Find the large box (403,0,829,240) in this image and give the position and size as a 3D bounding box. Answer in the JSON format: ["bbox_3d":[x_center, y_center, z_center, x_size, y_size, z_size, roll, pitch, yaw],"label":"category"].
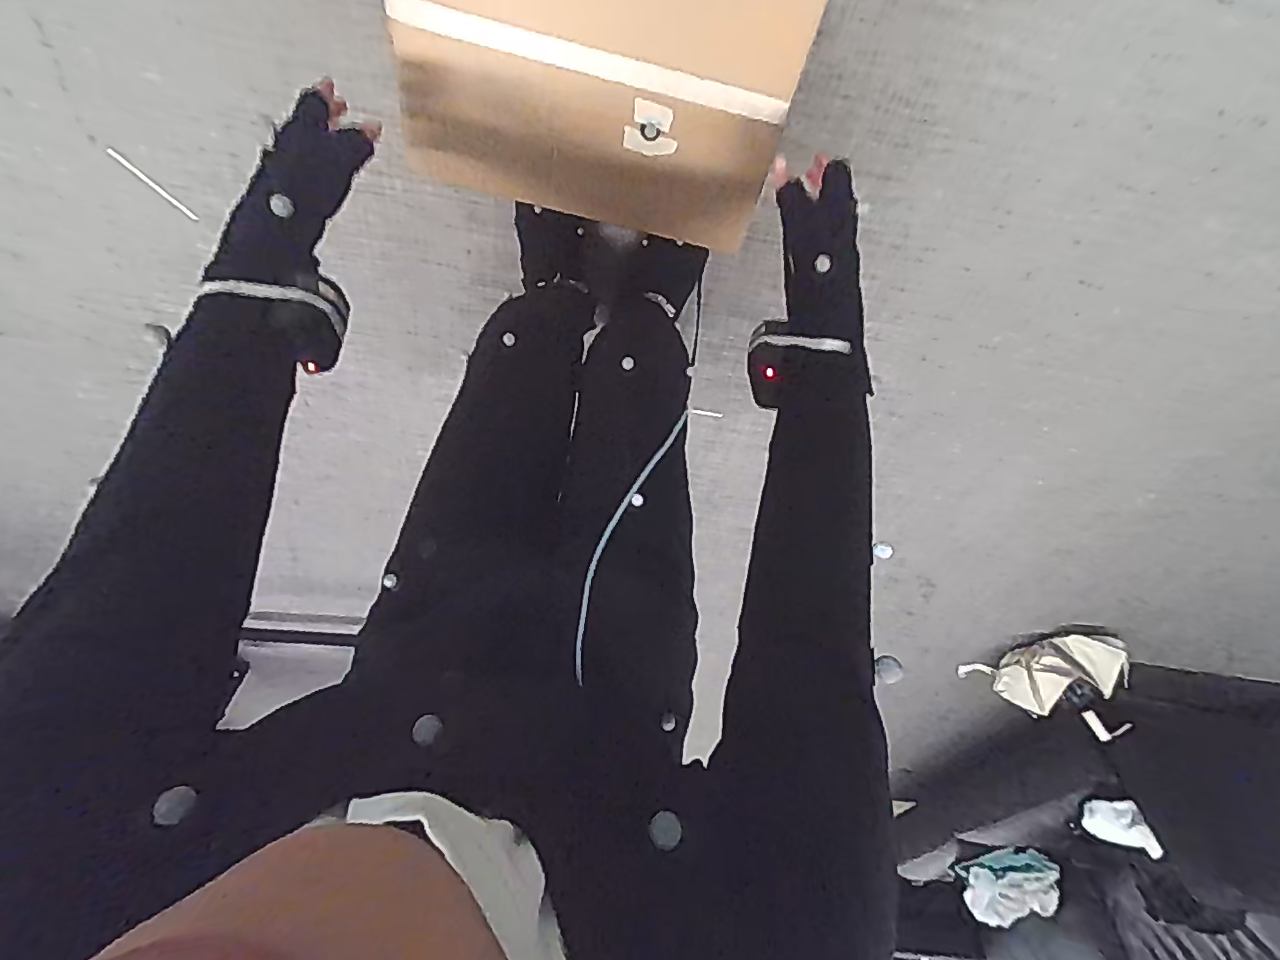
[{"bbox_3d":[-0.027,-0.537,0.636,0.408,0.320,0.320,11,139,-6],"label":"large box"}]
